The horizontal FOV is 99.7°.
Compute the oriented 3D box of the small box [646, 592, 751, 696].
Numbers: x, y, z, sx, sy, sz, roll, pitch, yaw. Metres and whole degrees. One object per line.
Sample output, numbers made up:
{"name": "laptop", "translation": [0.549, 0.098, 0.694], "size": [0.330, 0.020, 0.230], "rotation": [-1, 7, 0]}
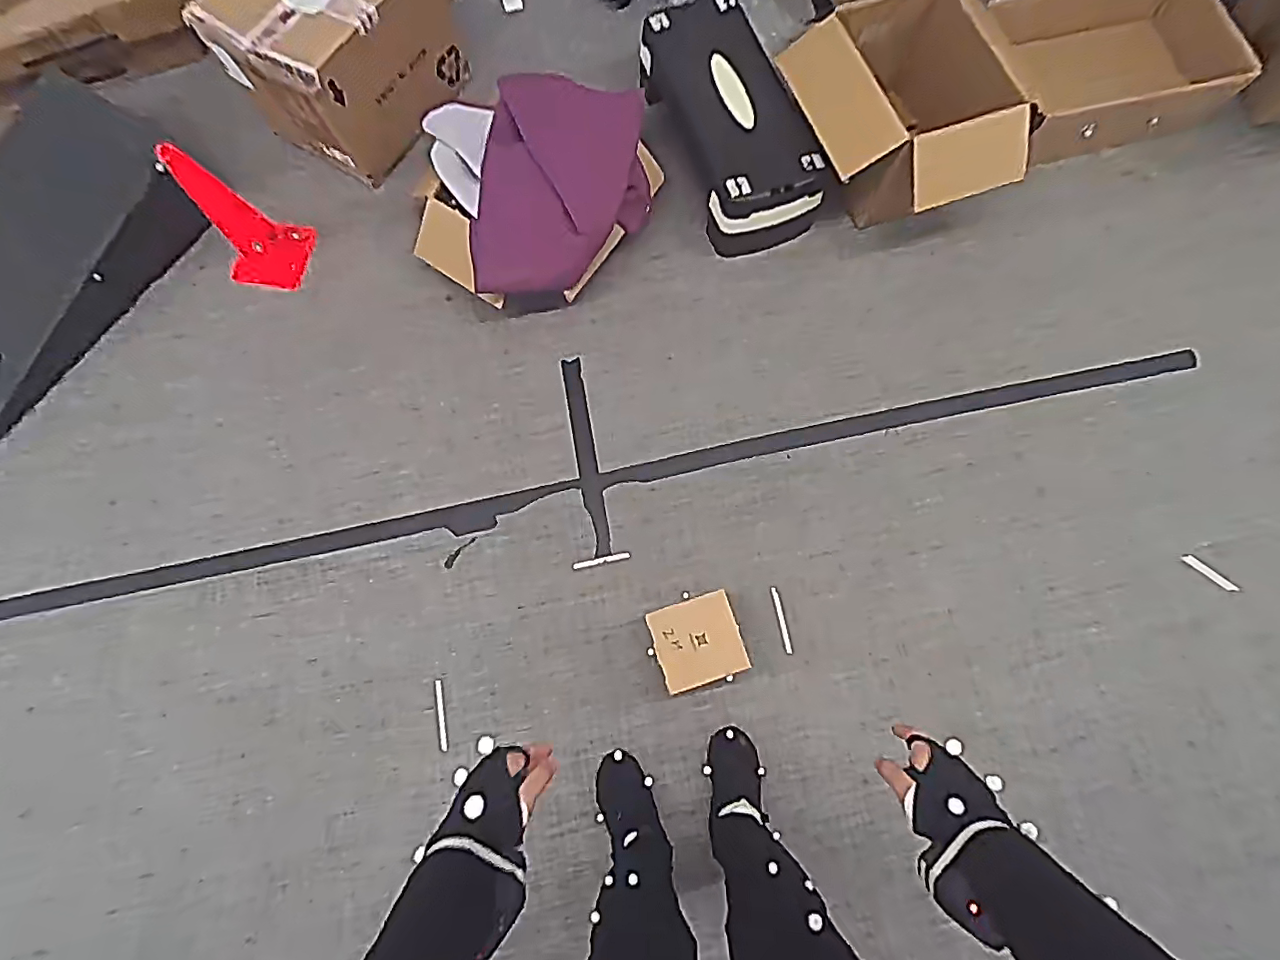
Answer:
{"name": "small box", "translation": [0.116, 0.348, 1.167], "size": [0.179, 0.176, 0.168], "rotation": [-17, 76, -4]}
